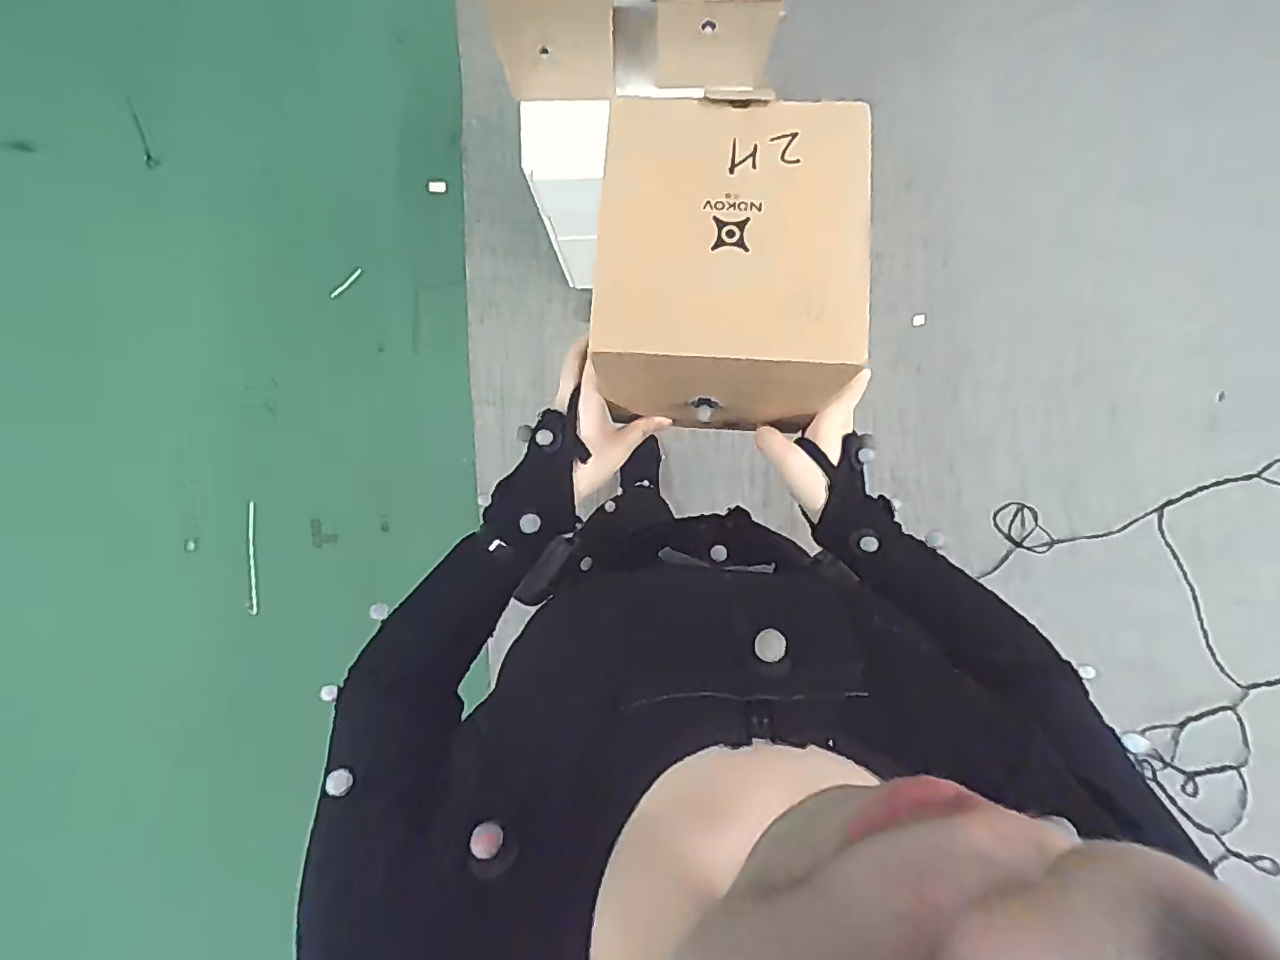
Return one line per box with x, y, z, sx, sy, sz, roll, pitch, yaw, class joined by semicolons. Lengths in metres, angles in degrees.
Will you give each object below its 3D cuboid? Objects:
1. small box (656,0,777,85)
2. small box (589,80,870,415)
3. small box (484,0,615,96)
0.113;-0.747;0.832;0.179;0.176;0.168;1;89;1;small box
0.059;-0.156;0.413;0.168;0.176;0.179;4;81;2;small box
-0.131;-0.730;0.835;0.179;0.176;0.168;-1;90;0;small box
